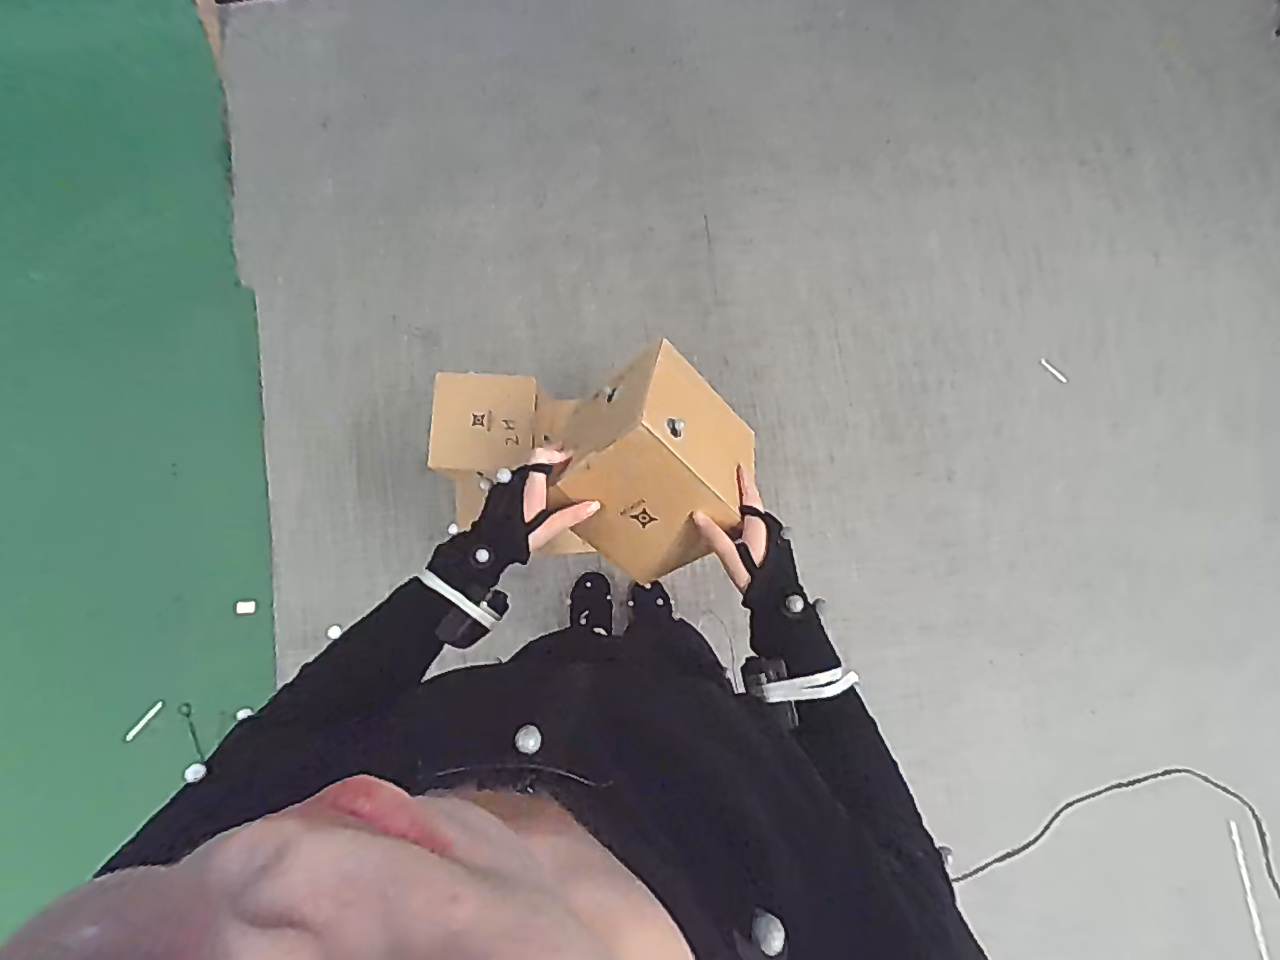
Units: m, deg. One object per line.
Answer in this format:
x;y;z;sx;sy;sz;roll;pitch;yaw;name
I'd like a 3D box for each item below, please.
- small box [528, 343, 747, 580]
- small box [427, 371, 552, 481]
0.010;-0.021;0.618;0.168;0.176;0.179;-32;118;33;small box
-0.264;-0.091;0.987;0.179;0.176;0.168;3;83;-1;small box
